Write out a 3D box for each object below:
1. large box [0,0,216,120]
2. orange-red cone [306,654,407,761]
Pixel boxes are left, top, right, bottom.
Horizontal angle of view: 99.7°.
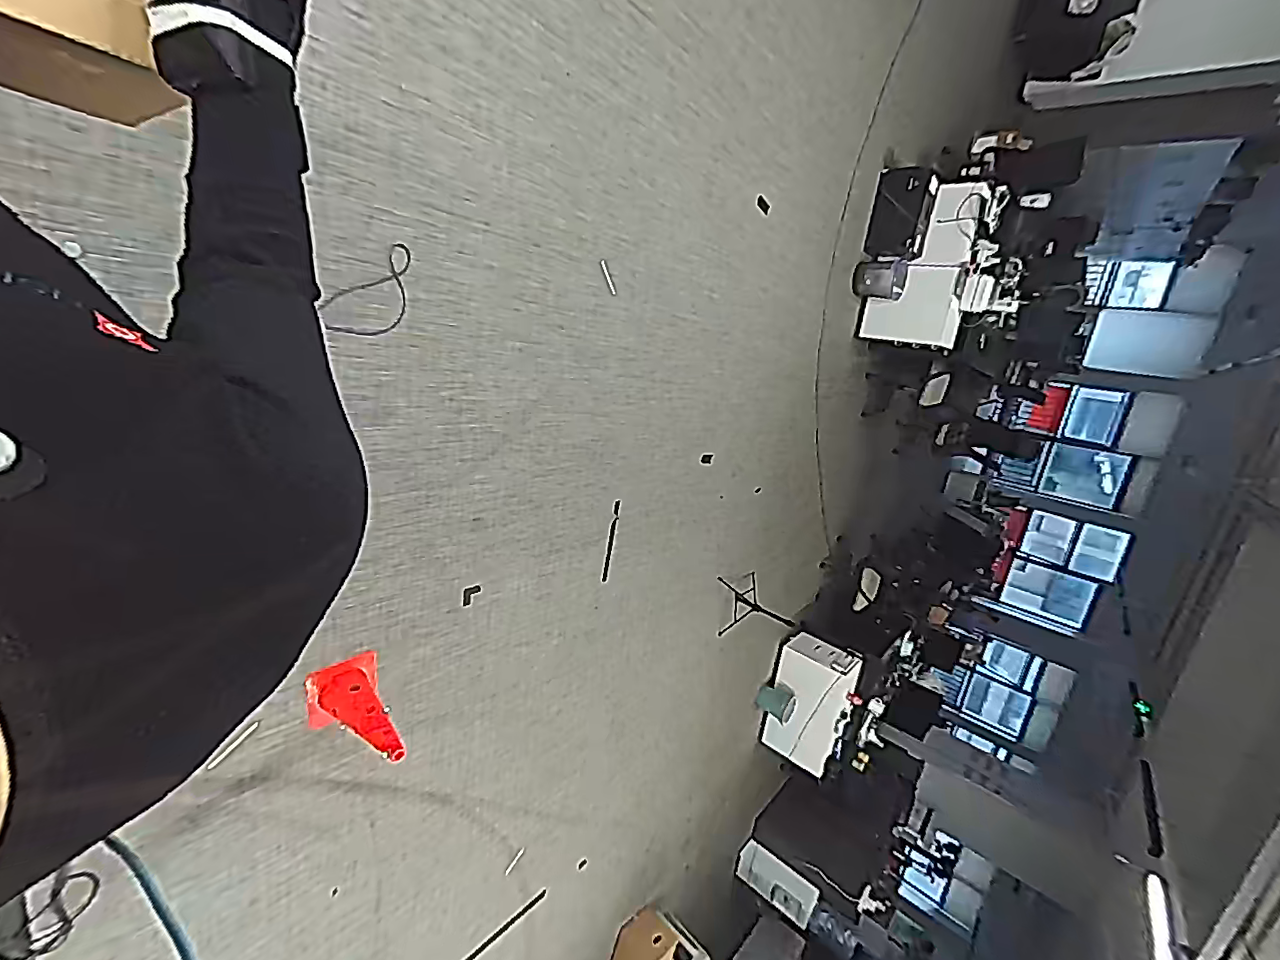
[{"bbox_3d":[-0.537,-0.466,0.304,0.408,0.320,0.320,-8,114,-51],"label":"large box"},{"bbox_3d":[-0.776,0.688,1.547,0.198,0.360,0.199,-13,114,-49],"label":"orange-red cone"}]
